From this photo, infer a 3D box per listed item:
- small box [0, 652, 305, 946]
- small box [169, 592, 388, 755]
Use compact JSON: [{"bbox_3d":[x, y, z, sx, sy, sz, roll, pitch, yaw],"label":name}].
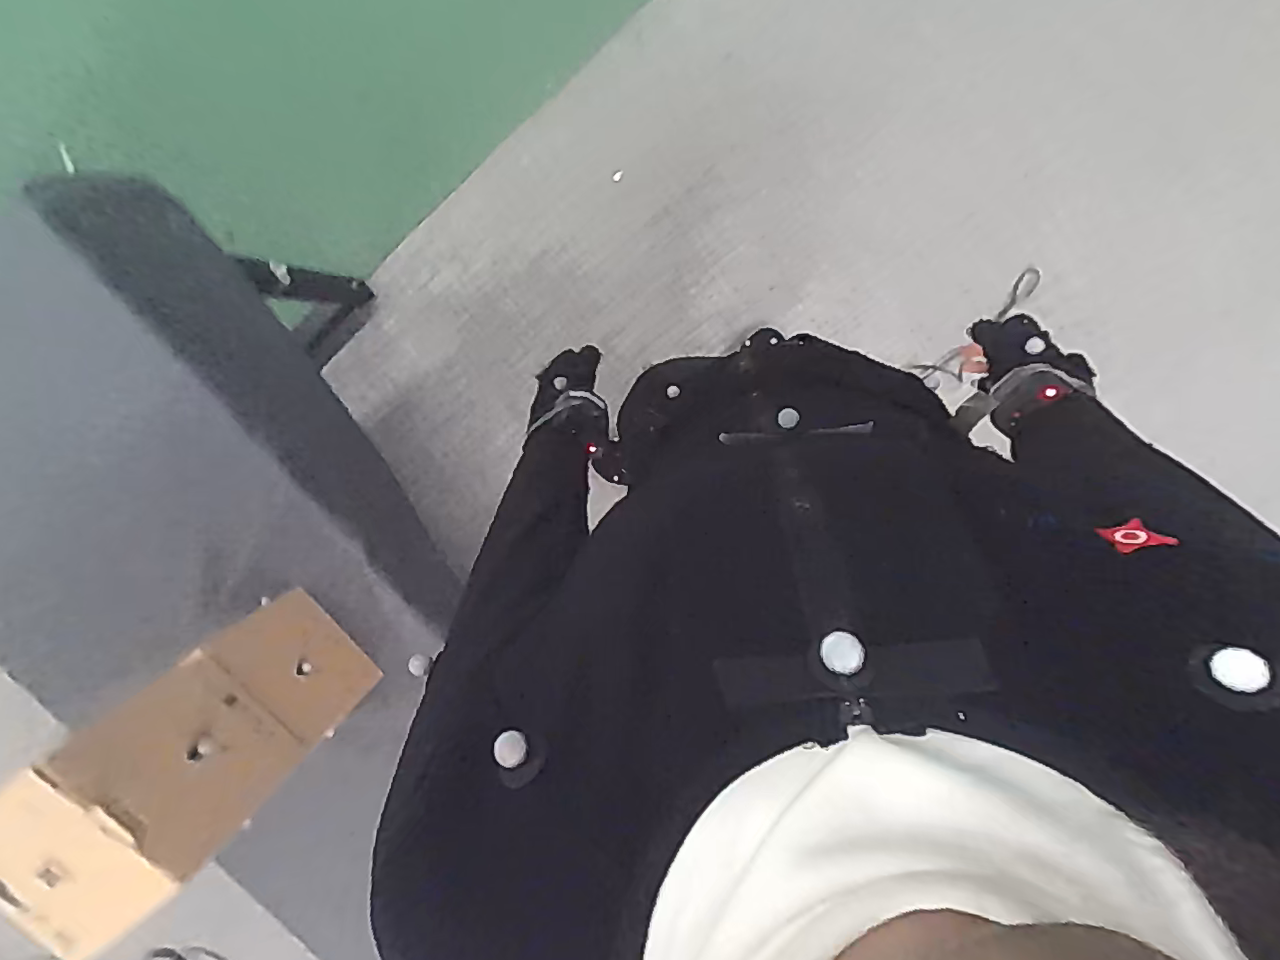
[{"bbox_3d":[-0.500,0.318,0.569,0.179,0.176,0.168,-38,98,13],"label":"small box"},{"bbox_3d":[-0.488,0.274,0.726,0.168,0.176,0.179,-37,99,13],"label":"small box"}]
